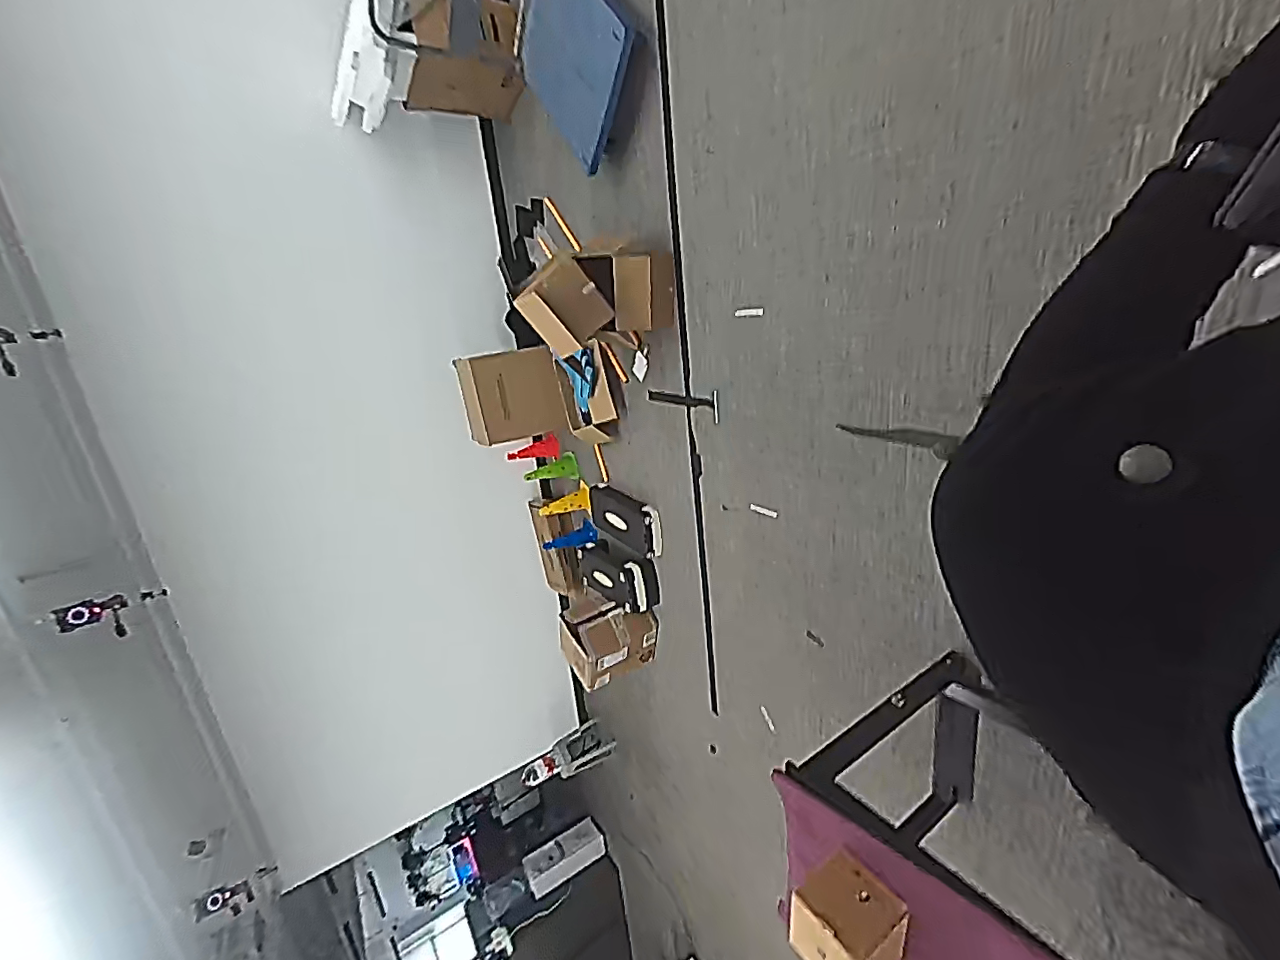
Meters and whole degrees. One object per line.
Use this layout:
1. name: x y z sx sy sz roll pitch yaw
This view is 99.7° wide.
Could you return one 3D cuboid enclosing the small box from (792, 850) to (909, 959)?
1. small box: 0.444 0.949 1.146 0.168 0.176 0.179 26 127 52
